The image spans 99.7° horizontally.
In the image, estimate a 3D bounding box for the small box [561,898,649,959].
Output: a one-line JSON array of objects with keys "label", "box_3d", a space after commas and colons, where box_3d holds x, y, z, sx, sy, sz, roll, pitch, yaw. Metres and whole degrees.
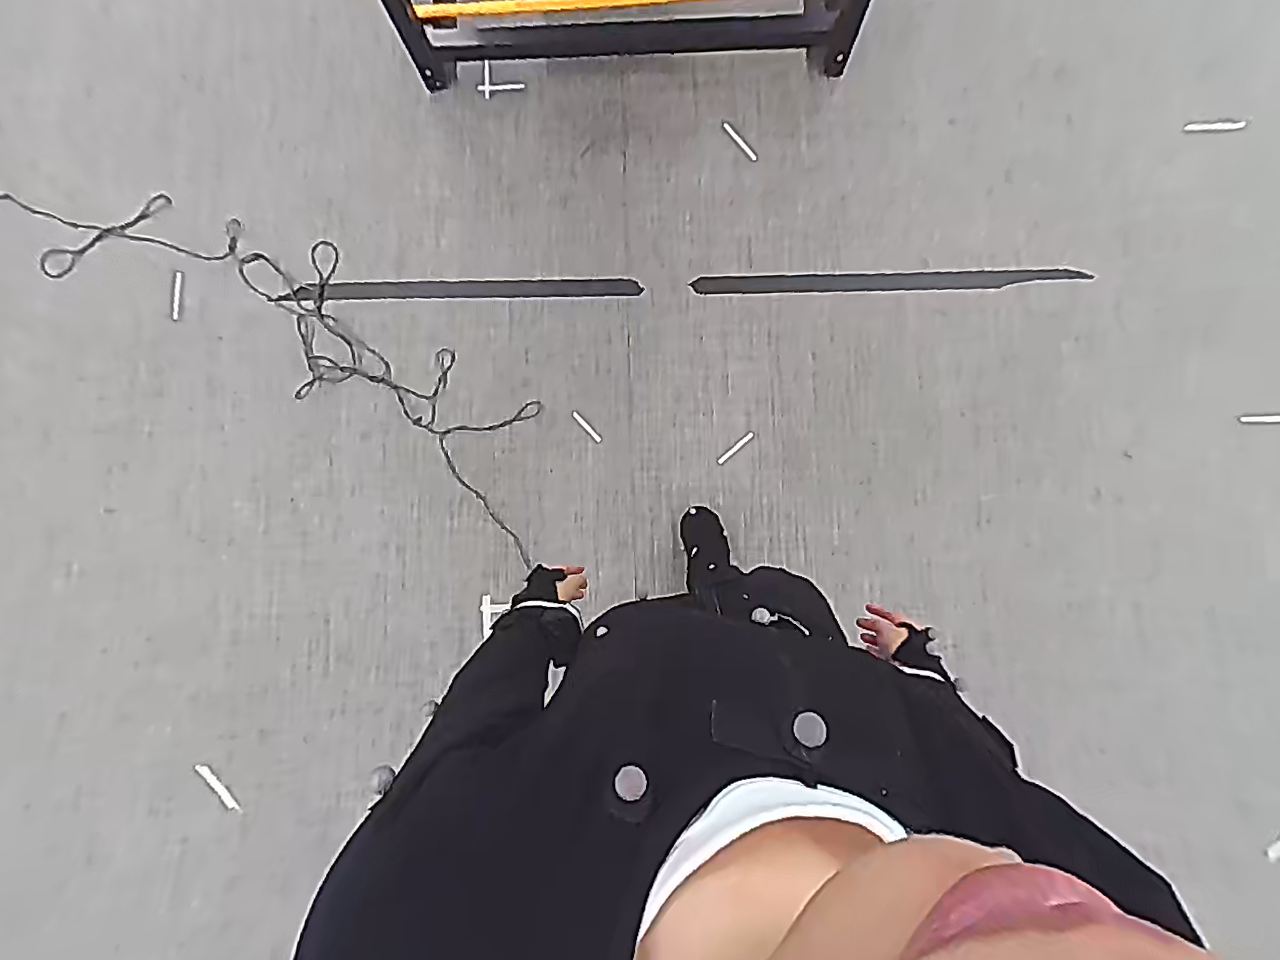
[{"label": "small box", "box_3d": [-0.074, 1.096, 1.232, 0.179, 0.176, 0.168, -6, 84, 2]}]
